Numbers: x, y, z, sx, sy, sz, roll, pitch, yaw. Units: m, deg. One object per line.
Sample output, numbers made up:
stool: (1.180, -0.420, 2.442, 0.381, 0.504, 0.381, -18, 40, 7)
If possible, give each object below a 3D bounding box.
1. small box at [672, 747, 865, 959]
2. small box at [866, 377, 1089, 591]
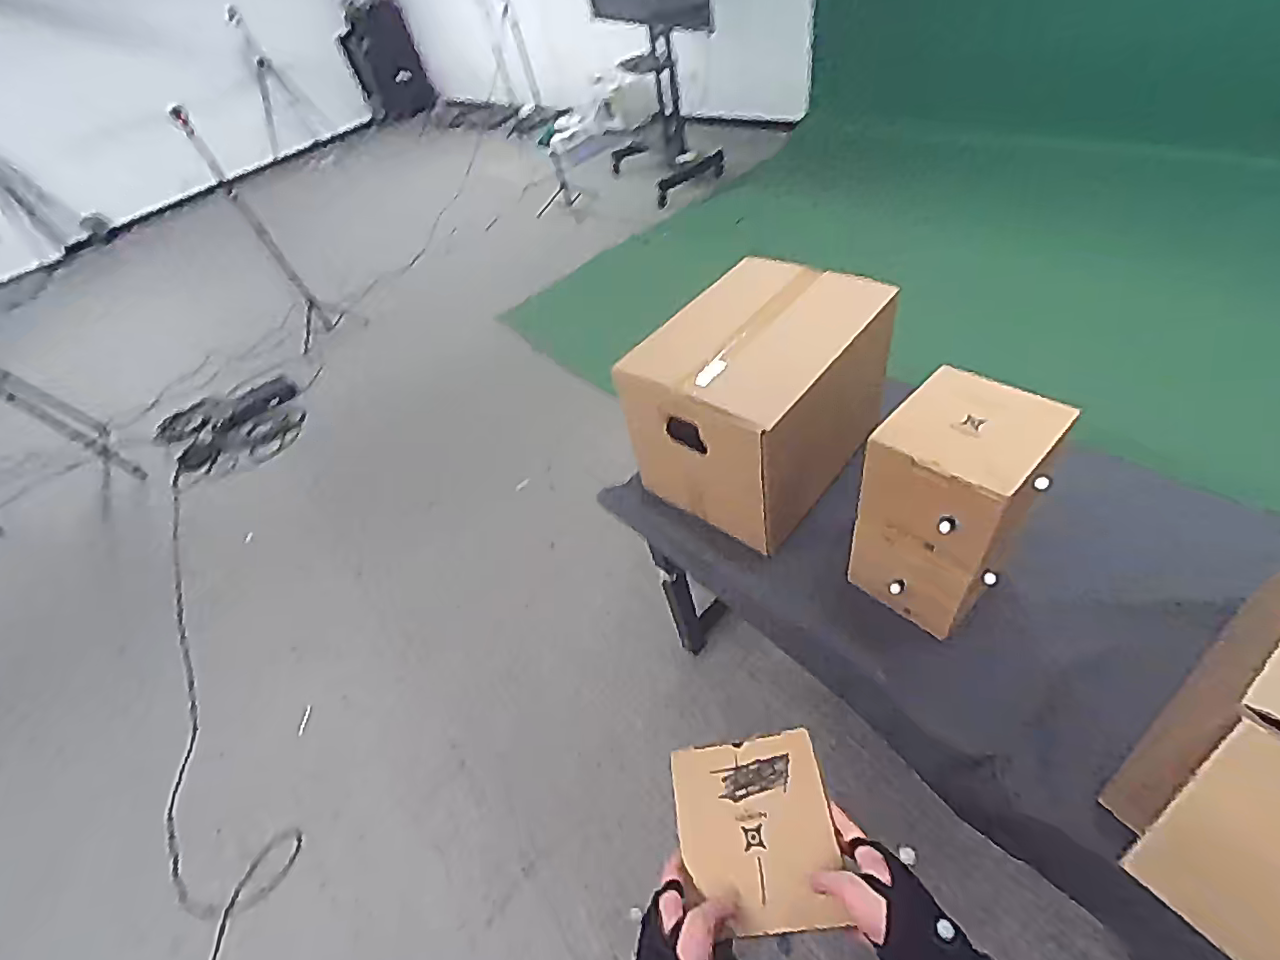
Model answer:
small box: (0.144, 0.425, 0.612, 0.168, 0.176, 0.179, -16, 49, 13)
small box: (0.408, 0.006, 0.684, 0.179, 0.176, 0.168, -39, 52, -21)
